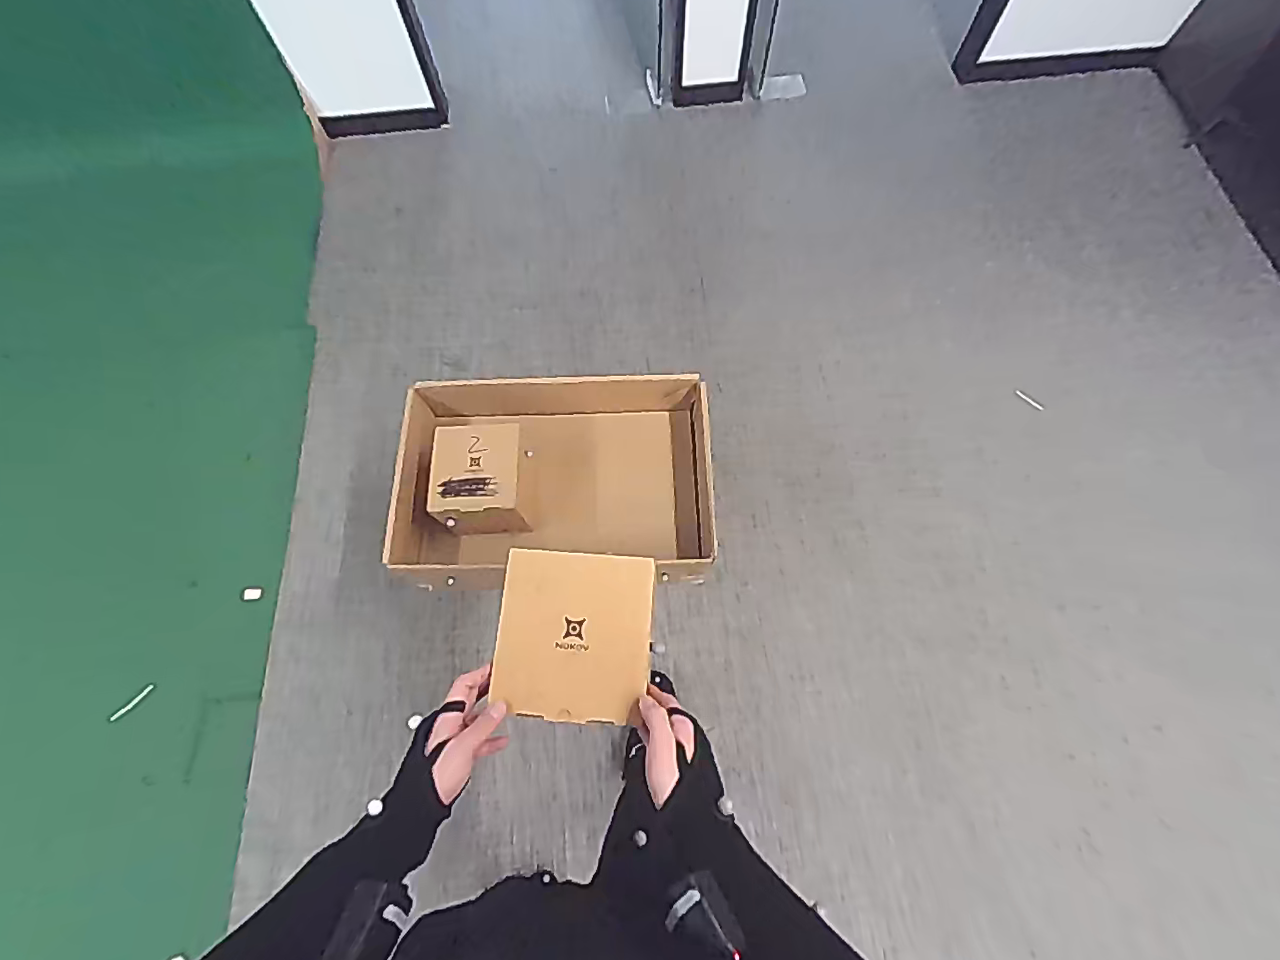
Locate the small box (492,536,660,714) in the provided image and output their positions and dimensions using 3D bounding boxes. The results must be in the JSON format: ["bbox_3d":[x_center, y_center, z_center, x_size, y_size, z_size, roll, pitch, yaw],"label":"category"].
[{"bbox_3d":[-0.065,0.174,0.656,0.168,0.176,0.179,4,74,2],"label":"small box"}]
